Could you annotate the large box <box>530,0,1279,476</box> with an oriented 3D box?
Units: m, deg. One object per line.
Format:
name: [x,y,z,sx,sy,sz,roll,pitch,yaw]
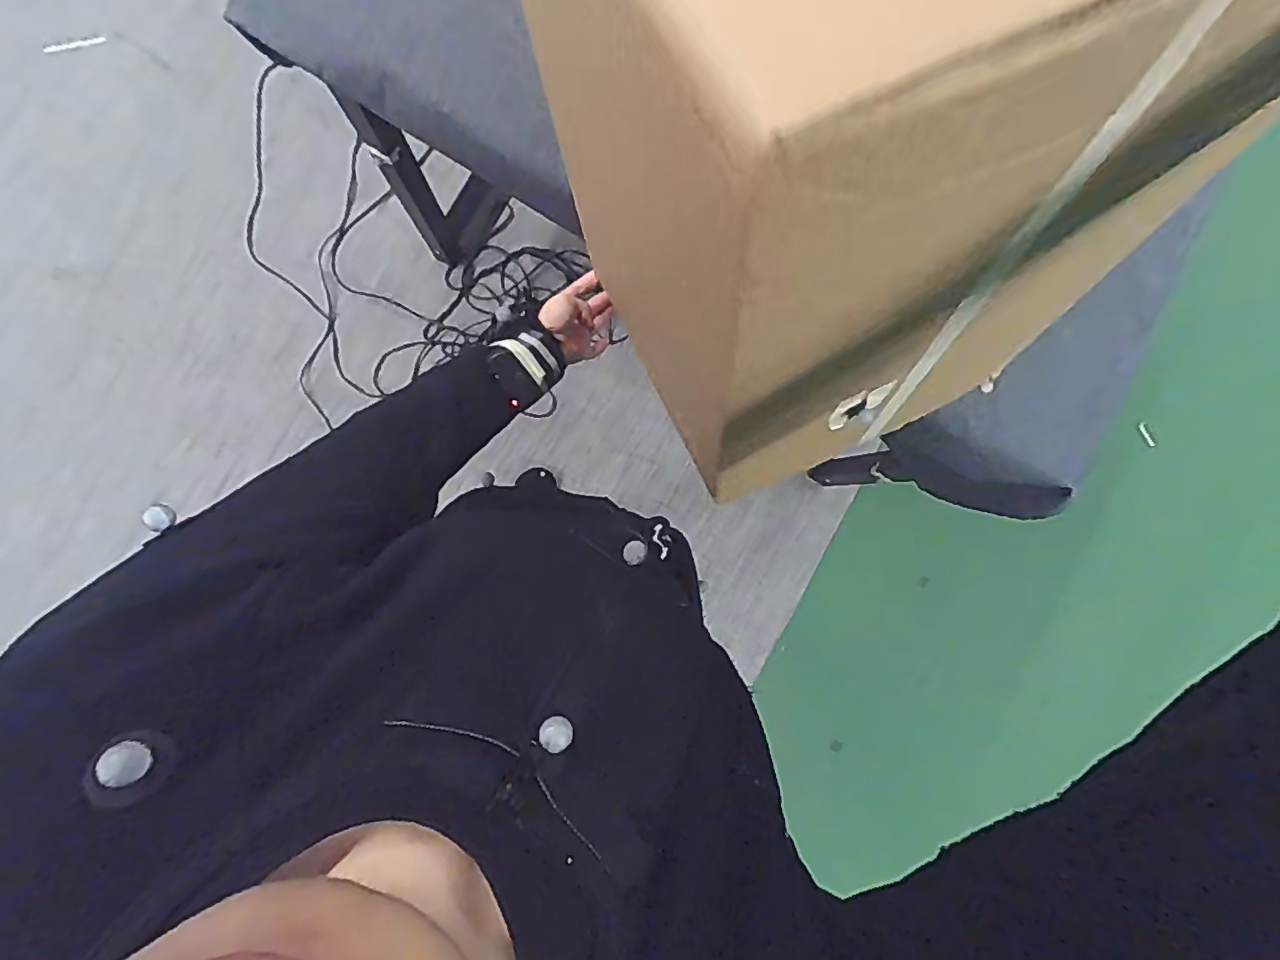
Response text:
large box: [0.134,-0.249,0.397,0.320,0.408,0.320,-26,74,-1]
